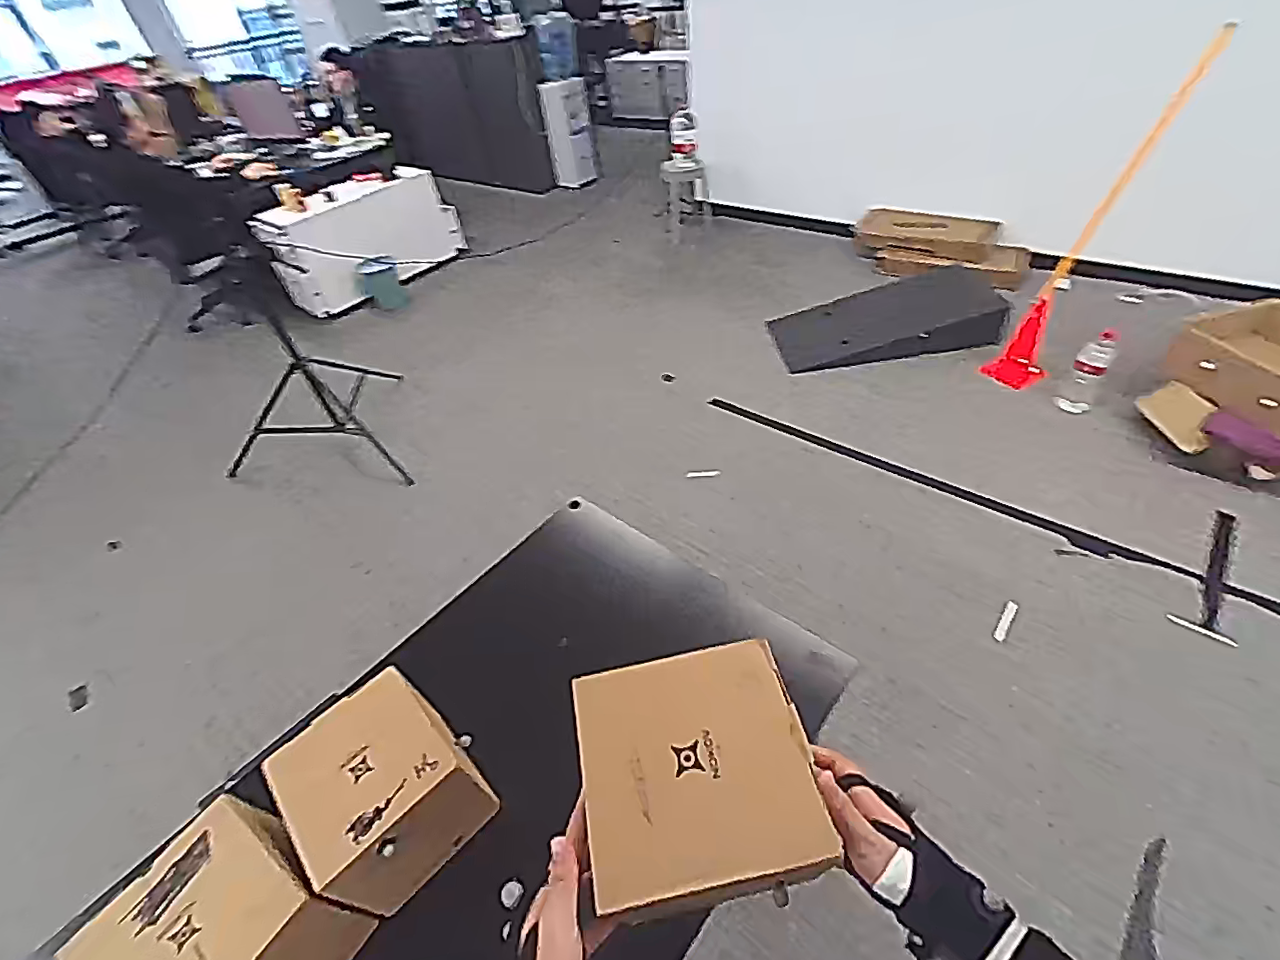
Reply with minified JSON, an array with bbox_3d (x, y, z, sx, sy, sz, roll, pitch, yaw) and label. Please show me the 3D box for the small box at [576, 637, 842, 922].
[{"bbox_3d":[0.051,0.266,0.478,0.179,0.176,0.168,-13,47,-1],"label":"small box"}]
